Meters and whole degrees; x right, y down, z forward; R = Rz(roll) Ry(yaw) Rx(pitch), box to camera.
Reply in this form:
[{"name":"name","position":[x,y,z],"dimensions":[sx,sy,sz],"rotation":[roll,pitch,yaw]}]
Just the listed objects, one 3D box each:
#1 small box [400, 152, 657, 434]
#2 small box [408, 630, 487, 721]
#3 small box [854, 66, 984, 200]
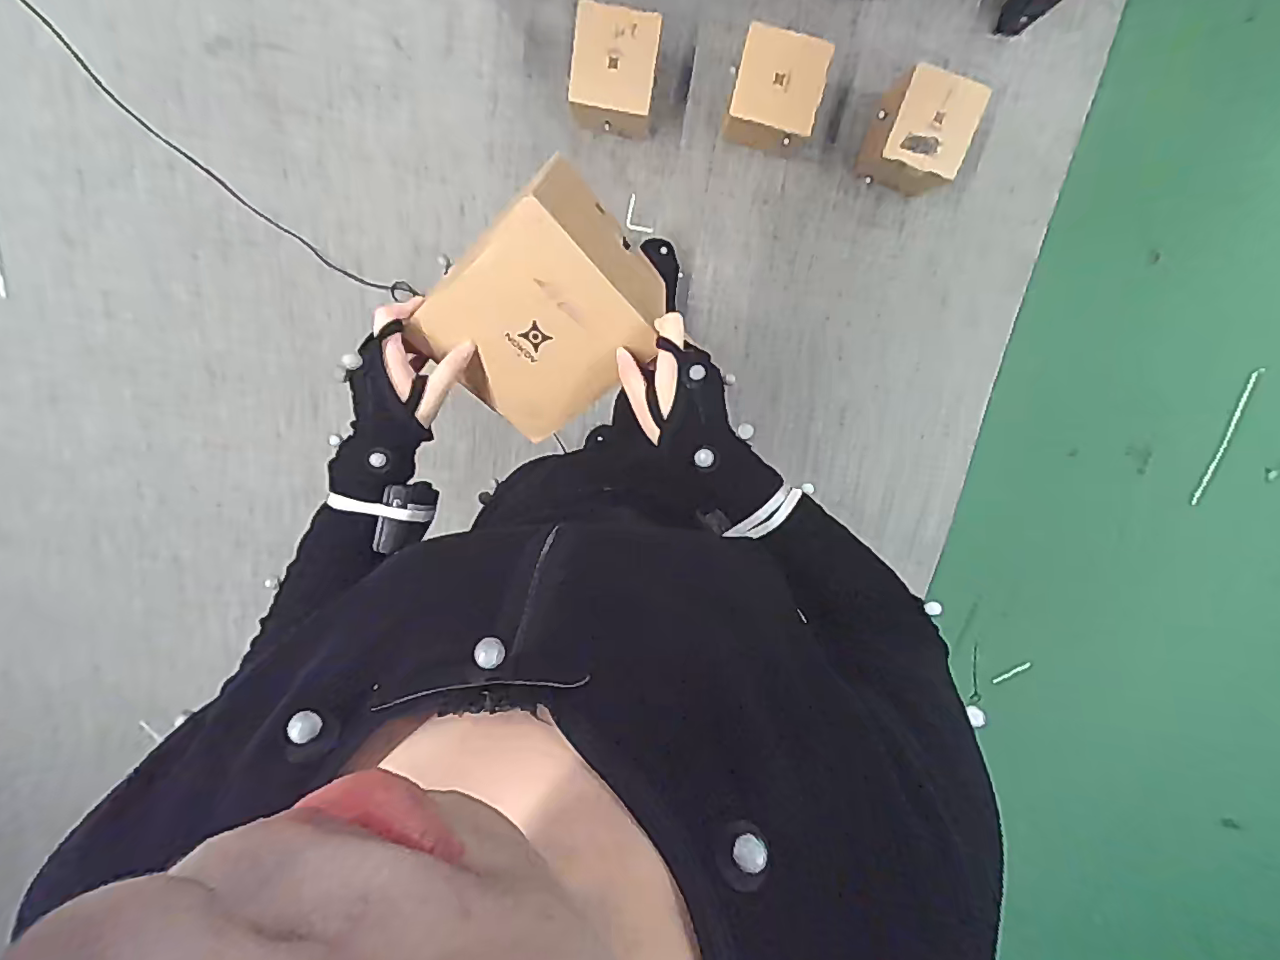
[{"name":"small box","position":[-0.095,-0.186,0.542],"dimensions":[0.179,0.176,0.168],"rotation":[-32,123,26]},{"name":"small box","position":[-0.552,0.560,1.570],"dimensions":[0.168,0.176,0.179],"rotation":[11,106,-3]},{"name":"small box","position":[0.593,-0.740,1.178],"dimensions":[0.168,0.176,0.179],"rotation":[16,101,-4]}]
